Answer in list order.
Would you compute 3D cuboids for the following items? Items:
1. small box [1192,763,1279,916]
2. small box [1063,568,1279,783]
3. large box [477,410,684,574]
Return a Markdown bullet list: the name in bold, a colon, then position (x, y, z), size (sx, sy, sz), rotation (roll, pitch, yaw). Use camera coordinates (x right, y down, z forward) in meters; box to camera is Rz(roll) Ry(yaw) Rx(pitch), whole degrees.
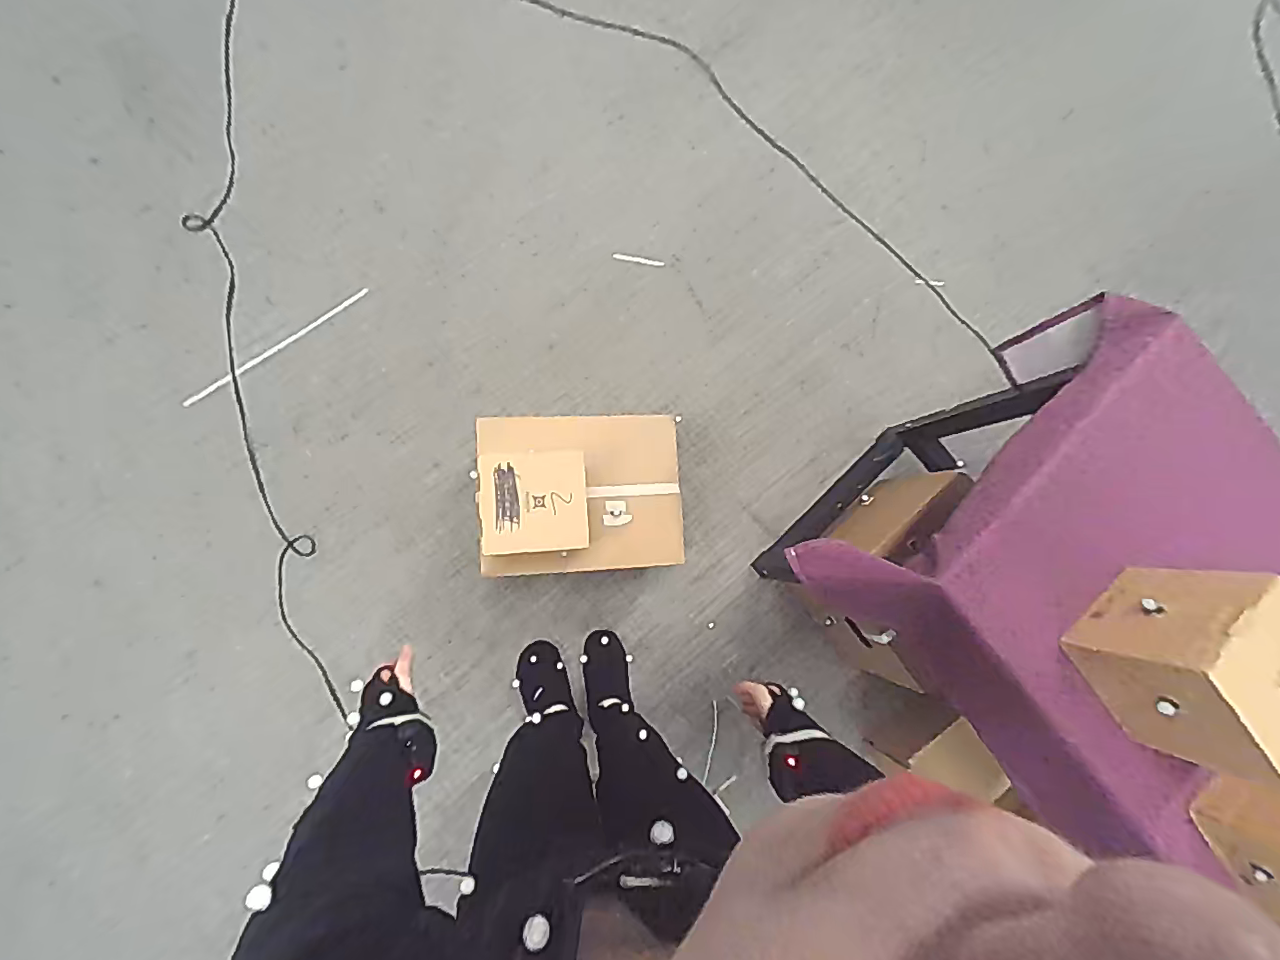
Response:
- **small box**: position (0.878, 0.459, 0.684), size (0.179, 0.176, 0.168), rotation (-33, 90, -11)
- **small box**: position (0.693, 0.226, 0.674), size (0.168, 0.176, 0.179), rotation (-38, 91, -11)
- **large box**: position (-0.142, 0.032, 1.223), size (0.408, 0.320, 0.320), rotation (-2, 85, -11)
